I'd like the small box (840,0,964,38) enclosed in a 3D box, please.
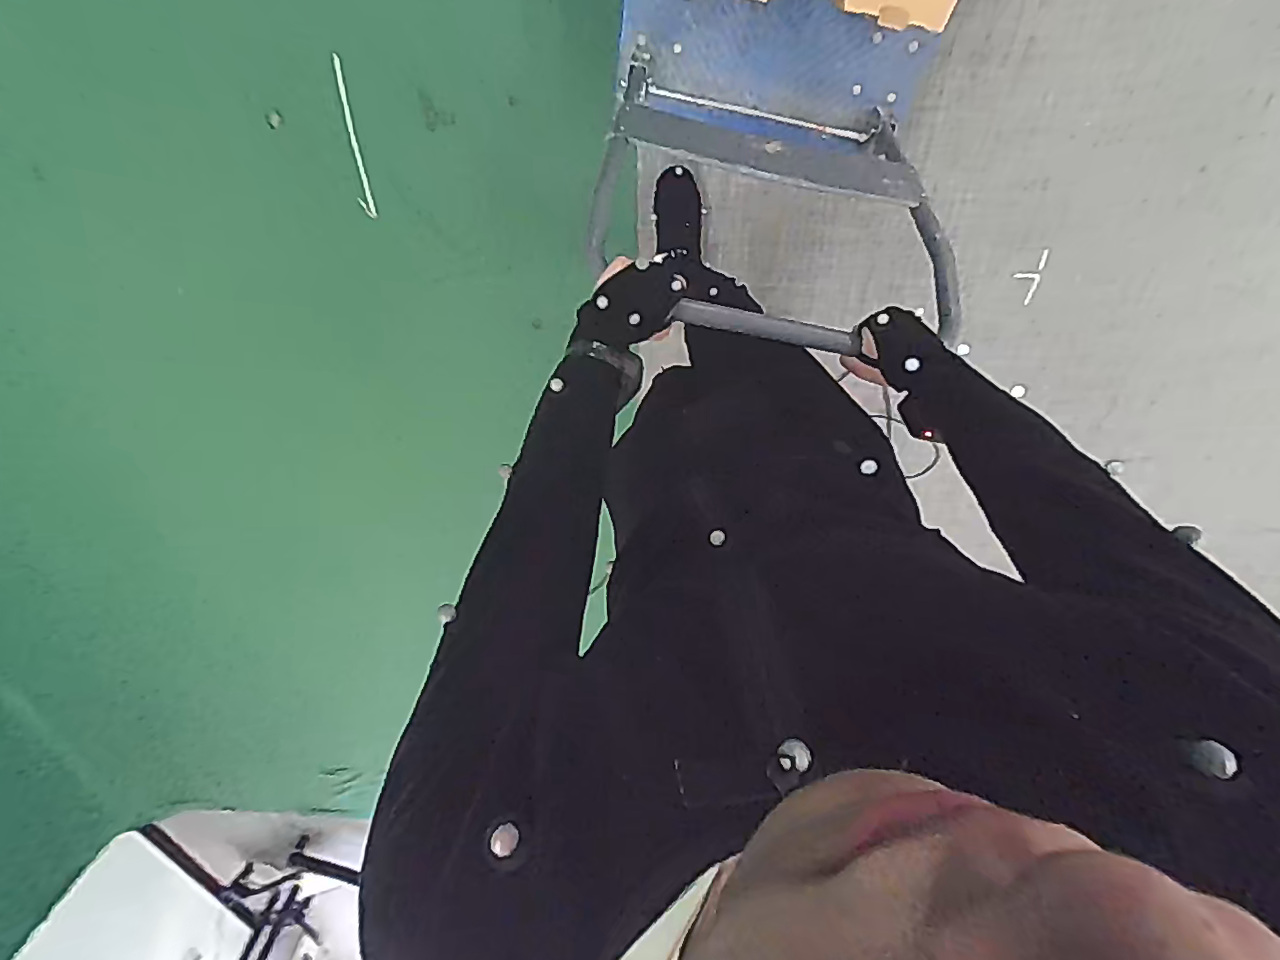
[{"bbox_3d":[0.416,-0.816,0.821,0.168,0.176,0.179,10,139,-4],"label":"small box"}]
